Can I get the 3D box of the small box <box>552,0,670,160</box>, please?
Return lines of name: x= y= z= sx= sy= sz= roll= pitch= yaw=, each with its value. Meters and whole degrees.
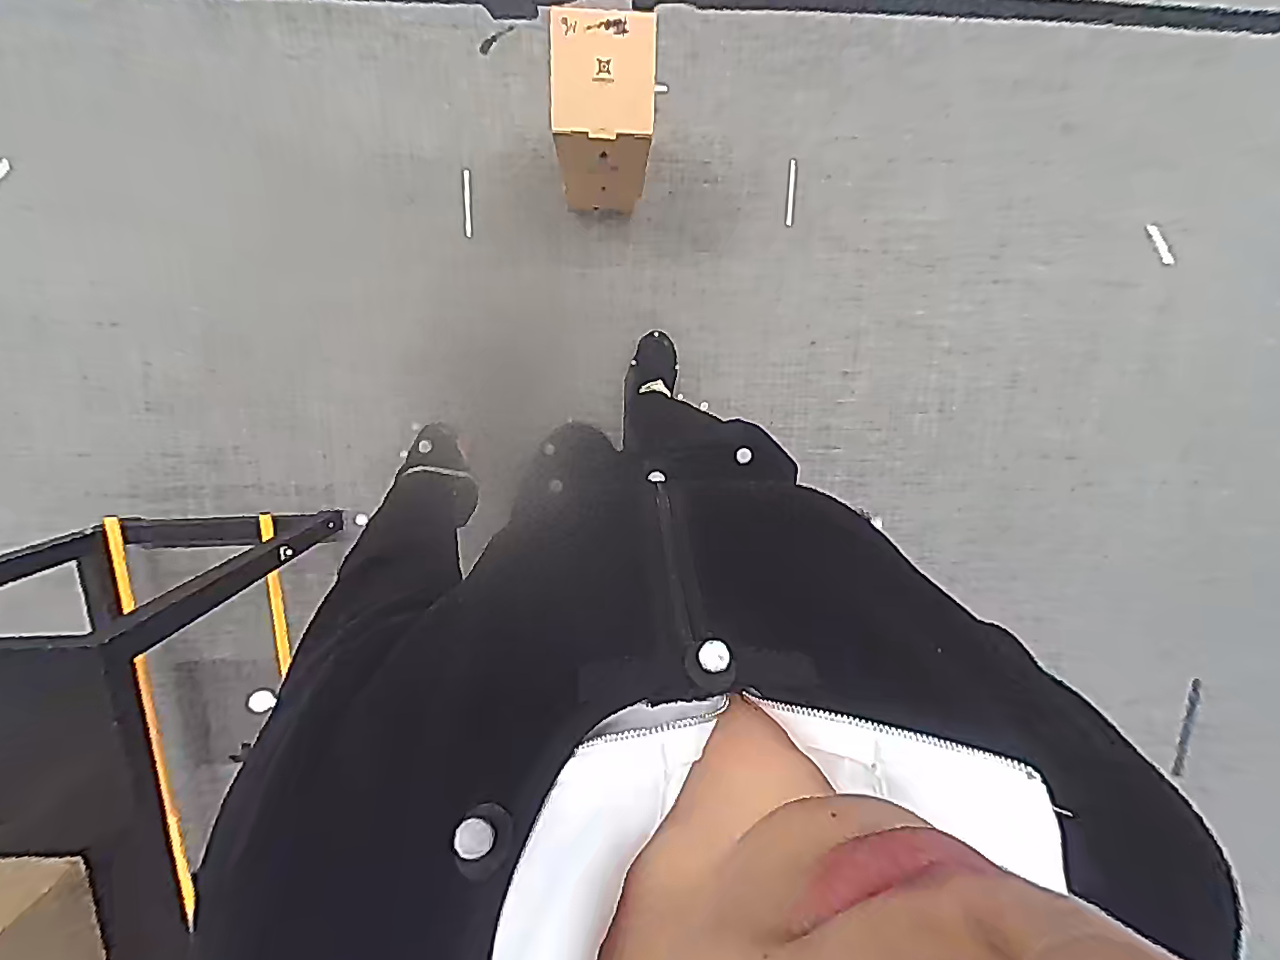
small box: x=-0.045 y=-0.619 z=0.839 sx=0.168 sy=0.176 sz=0.179 roll=1 pitch=103 yaw=-3

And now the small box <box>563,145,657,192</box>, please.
small box: x=-0.055 y=-0.657 z=0.998 sx=0.168 sy=0.176 sz=0.179 roll=0 pitch=103 yaw=-3

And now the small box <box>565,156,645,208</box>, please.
small box: x=-0.073 y=-0.701 z=1.156 sx=0.168 sy=0.176 sz=0.179 roll=0 pitch=104 yaw=-3
